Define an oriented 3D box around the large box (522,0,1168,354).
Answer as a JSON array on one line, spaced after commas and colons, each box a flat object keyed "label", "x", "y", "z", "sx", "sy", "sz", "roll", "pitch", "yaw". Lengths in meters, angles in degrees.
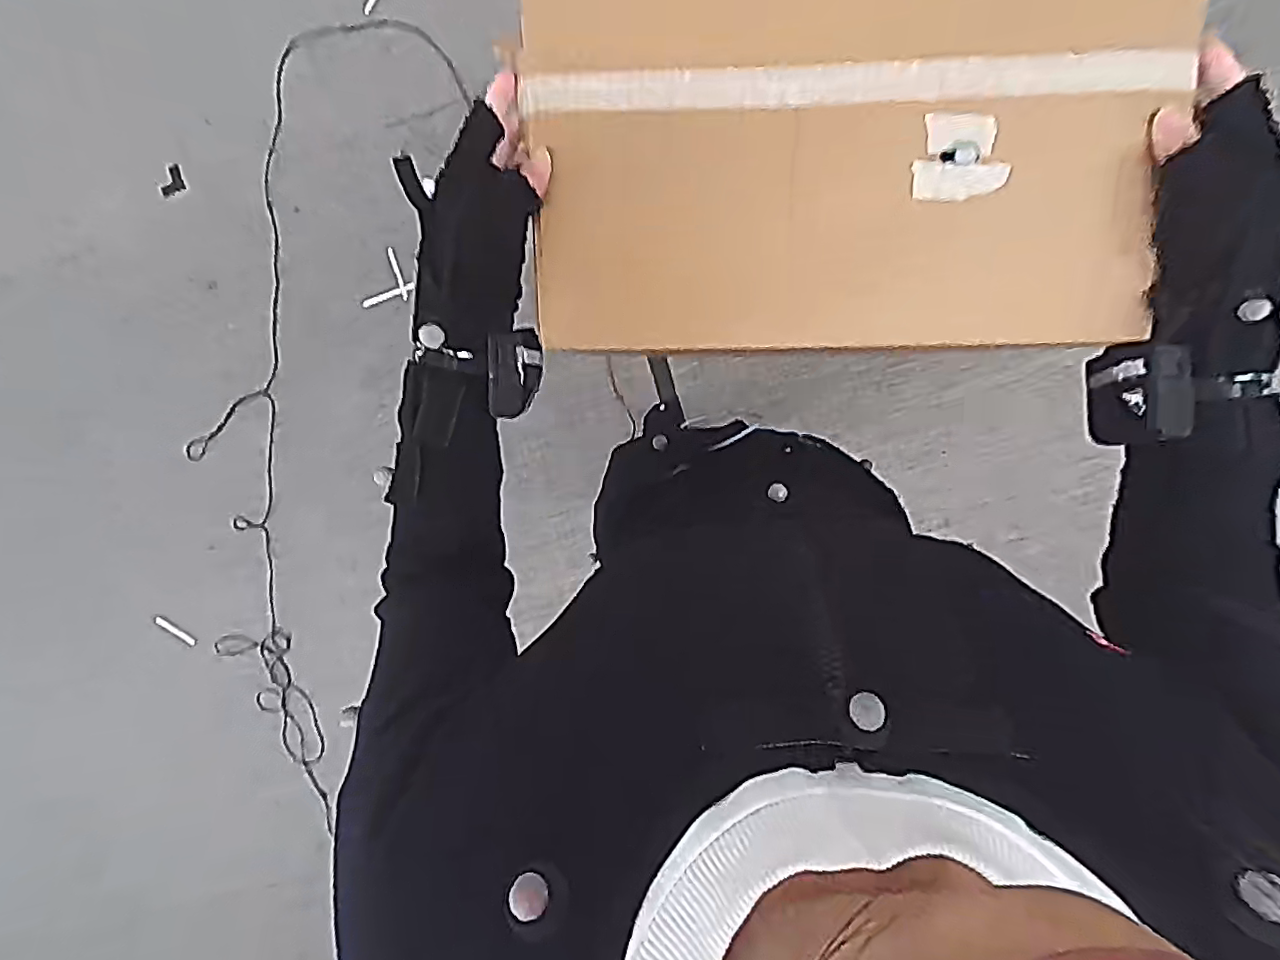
[{"label": "large box", "x": 0.126, "y": -0.282, "z": 0.491, "sx": 0.408, "sy": 0.320, "sz": 0.320, "roll": -1, "pitch": 103, "yaw": 1}]
